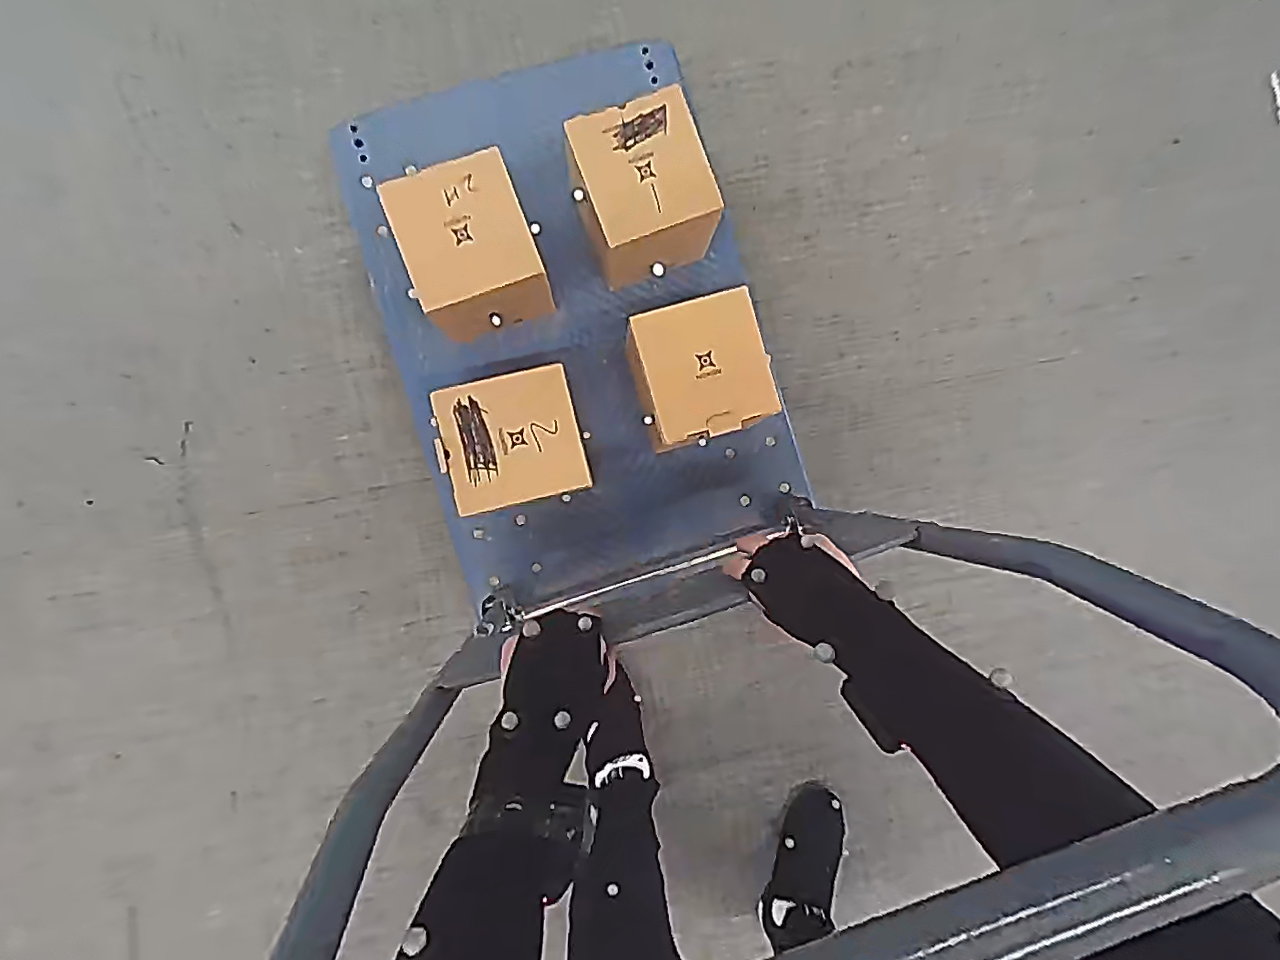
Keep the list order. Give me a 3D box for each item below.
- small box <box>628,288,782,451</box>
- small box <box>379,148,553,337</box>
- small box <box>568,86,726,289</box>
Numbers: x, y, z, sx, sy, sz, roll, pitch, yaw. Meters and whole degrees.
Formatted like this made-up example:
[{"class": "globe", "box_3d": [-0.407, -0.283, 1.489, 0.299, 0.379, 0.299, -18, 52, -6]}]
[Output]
[{"class": "small box", "box_3d": [0.083, -0.150, 0.788, 0.168, 0.176, 0.179, -16, 91, -4]}, {"class": "small box", "box_3d": [-0.232, -0.318, 0.769, 0.168, 0.176, 0.179, -20, 91, -4]}, {"class": "small box", "box_3d": [0.004, -0.409, 0.784, 0.168, 0.176, 0.179, -20, 92, -3]}]
